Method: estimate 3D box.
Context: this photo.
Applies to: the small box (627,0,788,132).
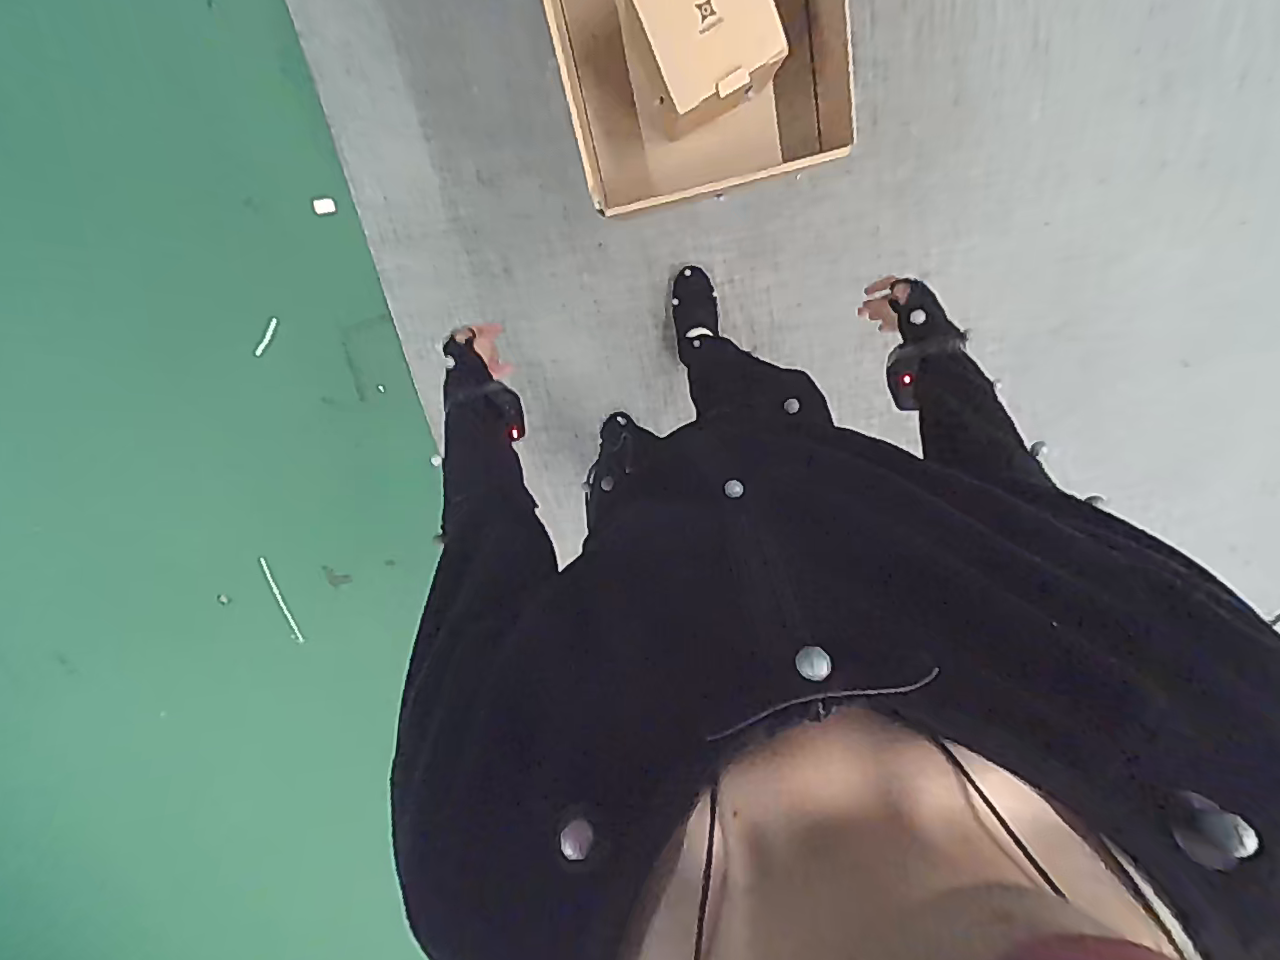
[{"bbox_3d":[0.091,-0.636,0.780,0.168,0.176,0.179,-24,108,9],"label":"small box"}]
